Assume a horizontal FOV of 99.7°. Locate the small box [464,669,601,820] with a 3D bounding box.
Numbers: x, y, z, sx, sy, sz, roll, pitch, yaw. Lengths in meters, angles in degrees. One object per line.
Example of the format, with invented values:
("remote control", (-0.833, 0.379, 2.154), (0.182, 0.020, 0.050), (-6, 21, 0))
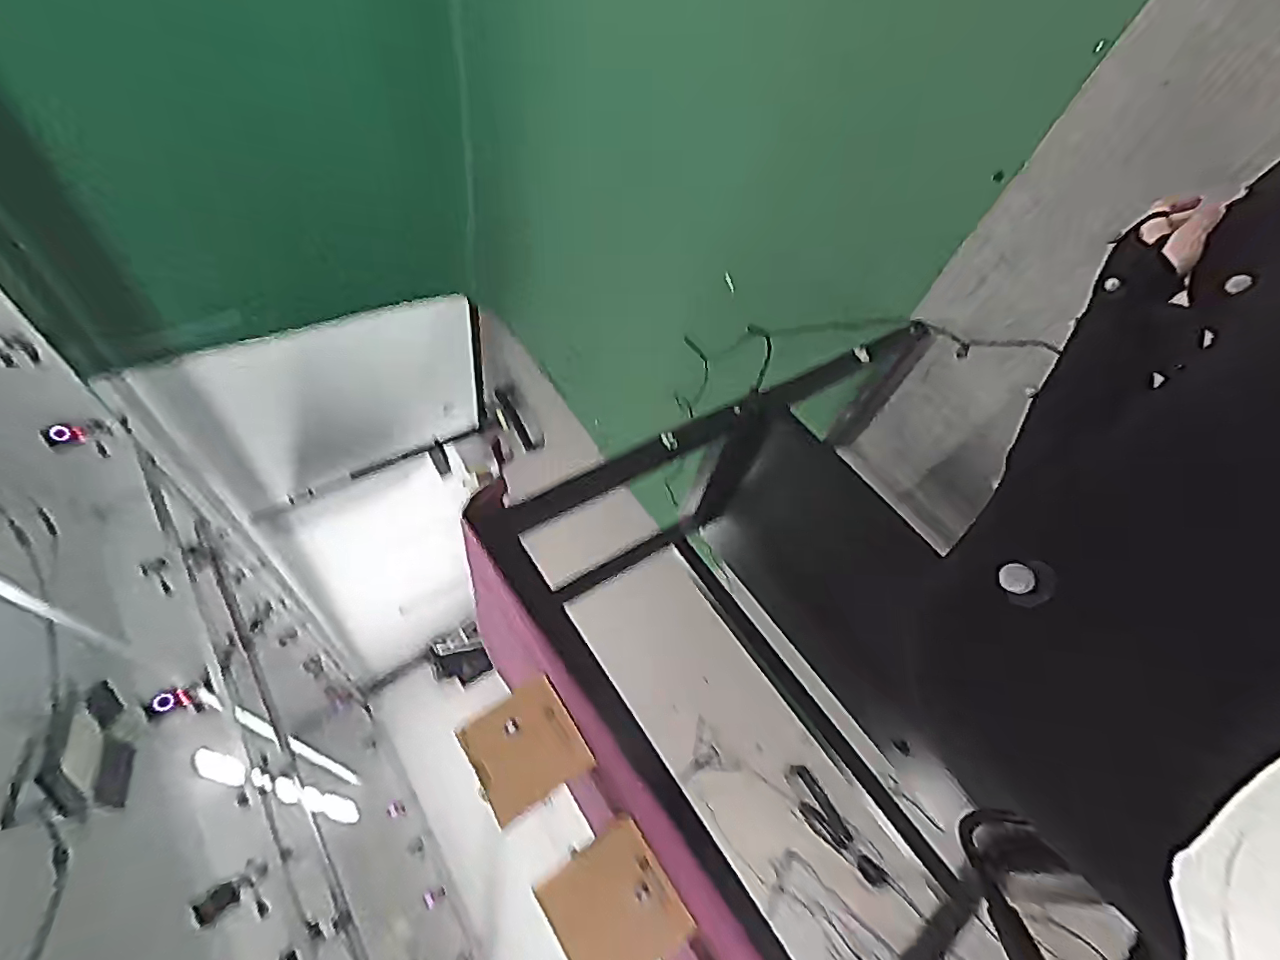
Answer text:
("small box", (-0.185, 0.454, 0.935), (0.168, 0.176, 0.179), (54, 153, 20))
